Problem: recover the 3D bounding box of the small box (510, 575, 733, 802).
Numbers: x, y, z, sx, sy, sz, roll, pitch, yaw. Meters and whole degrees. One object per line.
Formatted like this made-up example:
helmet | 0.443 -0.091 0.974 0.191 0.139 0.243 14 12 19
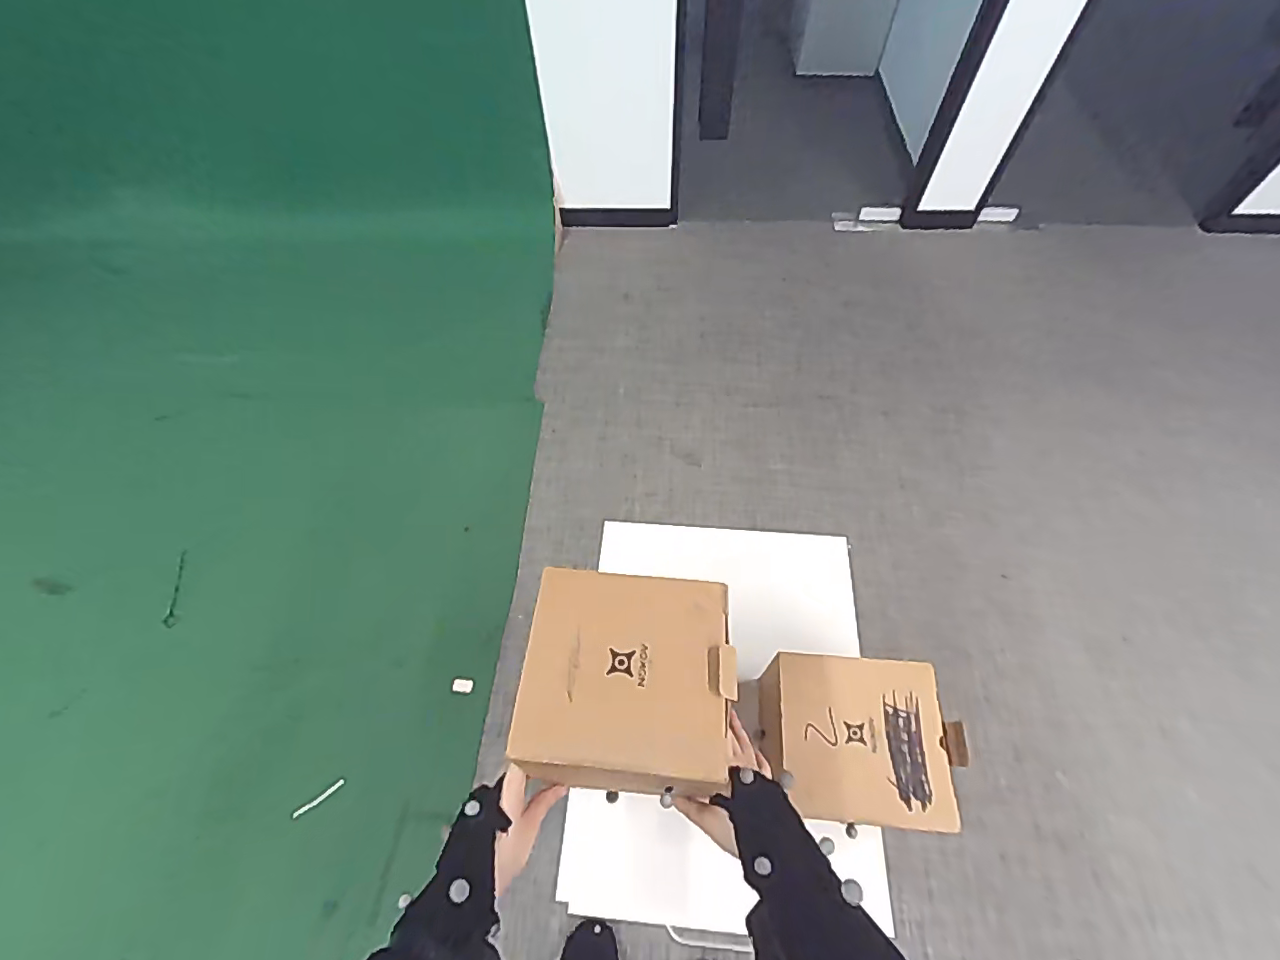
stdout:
small box | -0.009 0.208 0.527 0.179 0.176 0.168 4 55 3
